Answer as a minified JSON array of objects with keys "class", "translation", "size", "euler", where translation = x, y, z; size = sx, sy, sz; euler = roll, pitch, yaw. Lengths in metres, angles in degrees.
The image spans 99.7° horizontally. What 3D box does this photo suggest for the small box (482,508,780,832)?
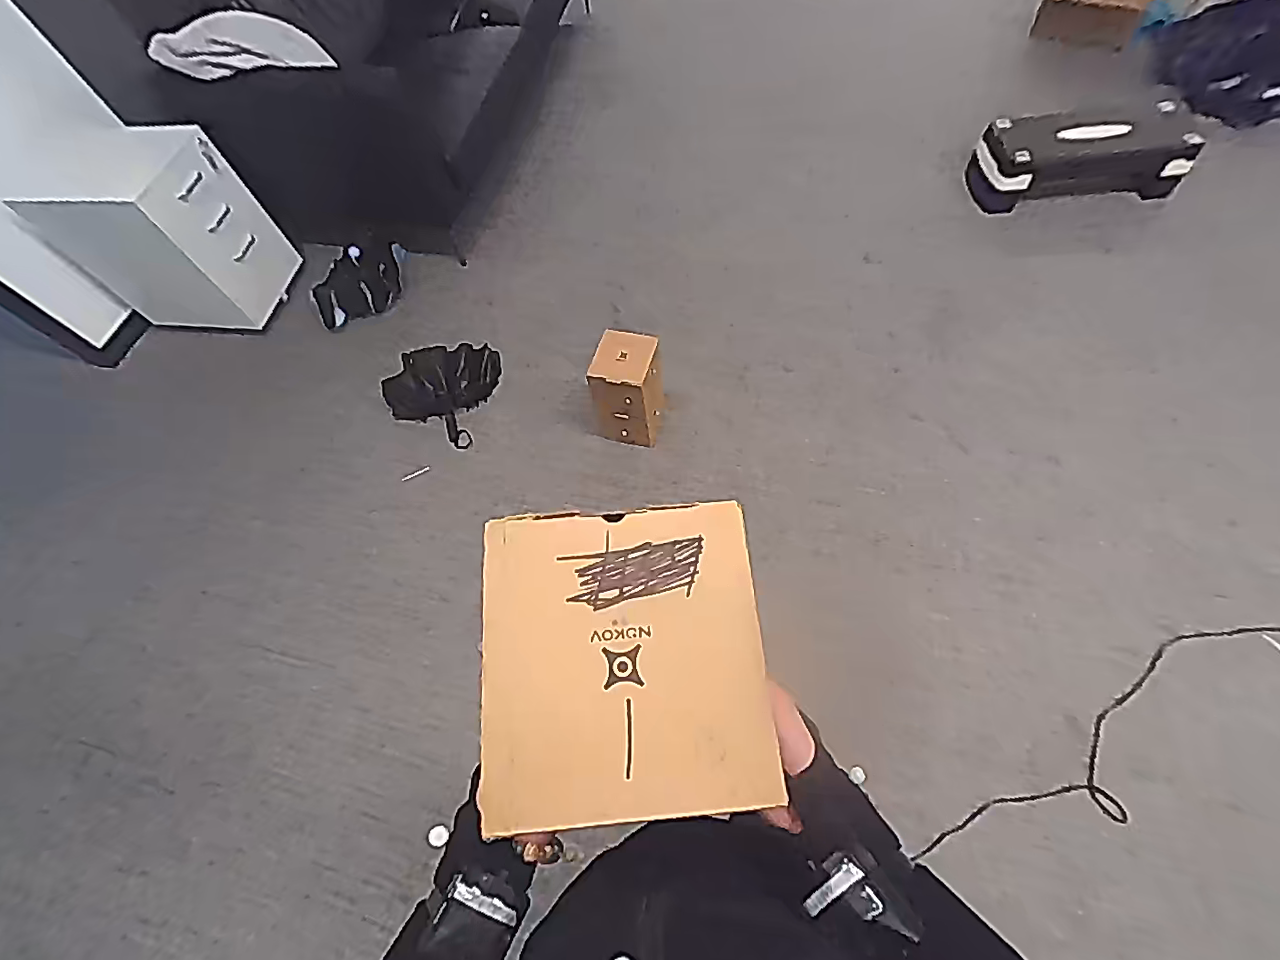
[{"class":"small box","translation":[-0.011,0.131,0.396],"size":[0.168,0.176,0.179],"euler":[-4,70,-2]}]
